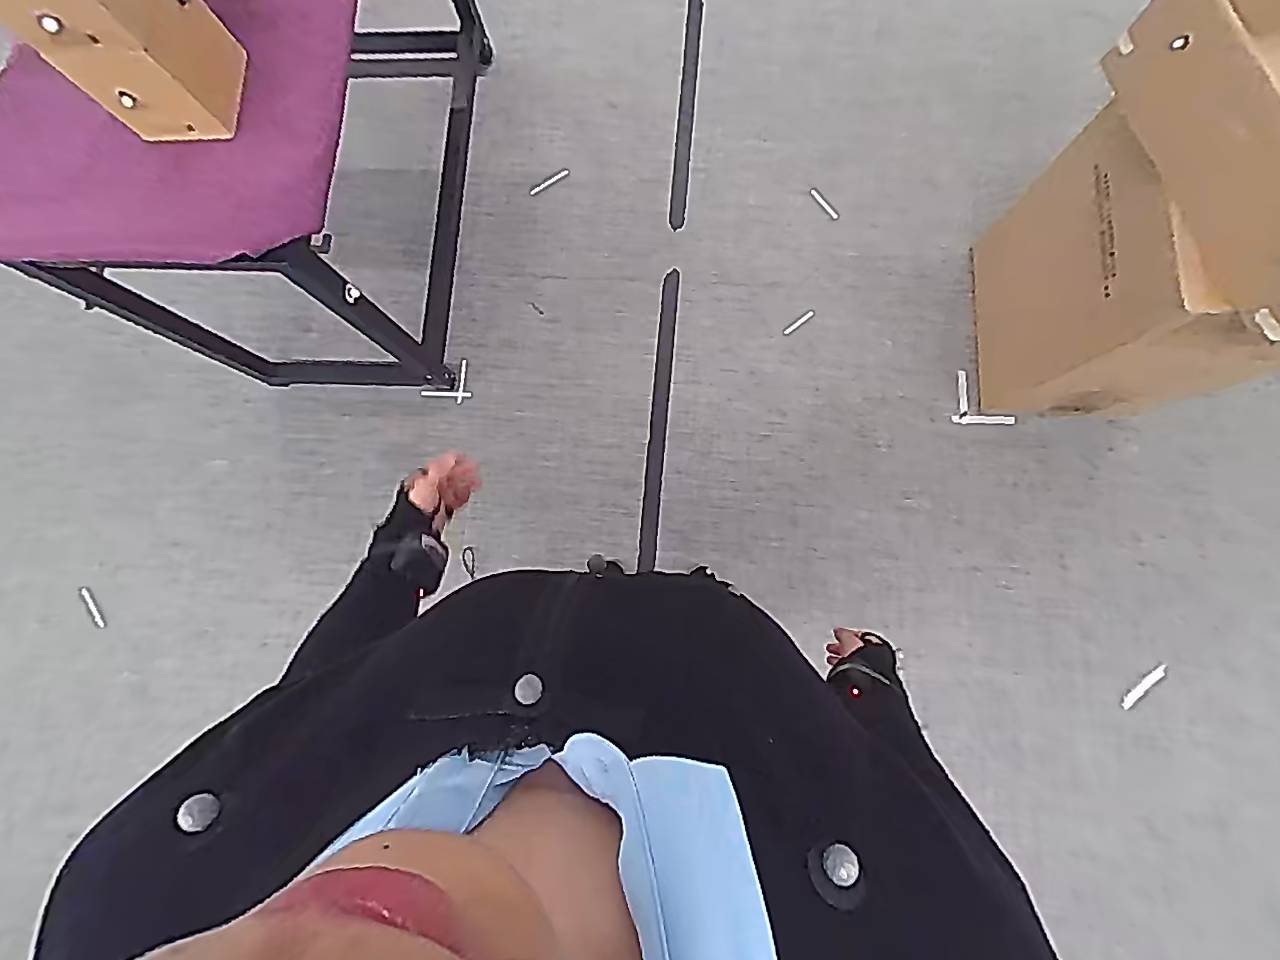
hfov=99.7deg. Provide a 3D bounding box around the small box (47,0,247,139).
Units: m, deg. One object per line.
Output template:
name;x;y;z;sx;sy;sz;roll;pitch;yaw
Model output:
small box;-0.789;-0.691;0.885;0.168;0.176;0.179;0;80;3

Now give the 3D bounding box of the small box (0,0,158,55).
small box;-0.793;-0.720;0.723;0.168;0.176;0.179;0;81;4
